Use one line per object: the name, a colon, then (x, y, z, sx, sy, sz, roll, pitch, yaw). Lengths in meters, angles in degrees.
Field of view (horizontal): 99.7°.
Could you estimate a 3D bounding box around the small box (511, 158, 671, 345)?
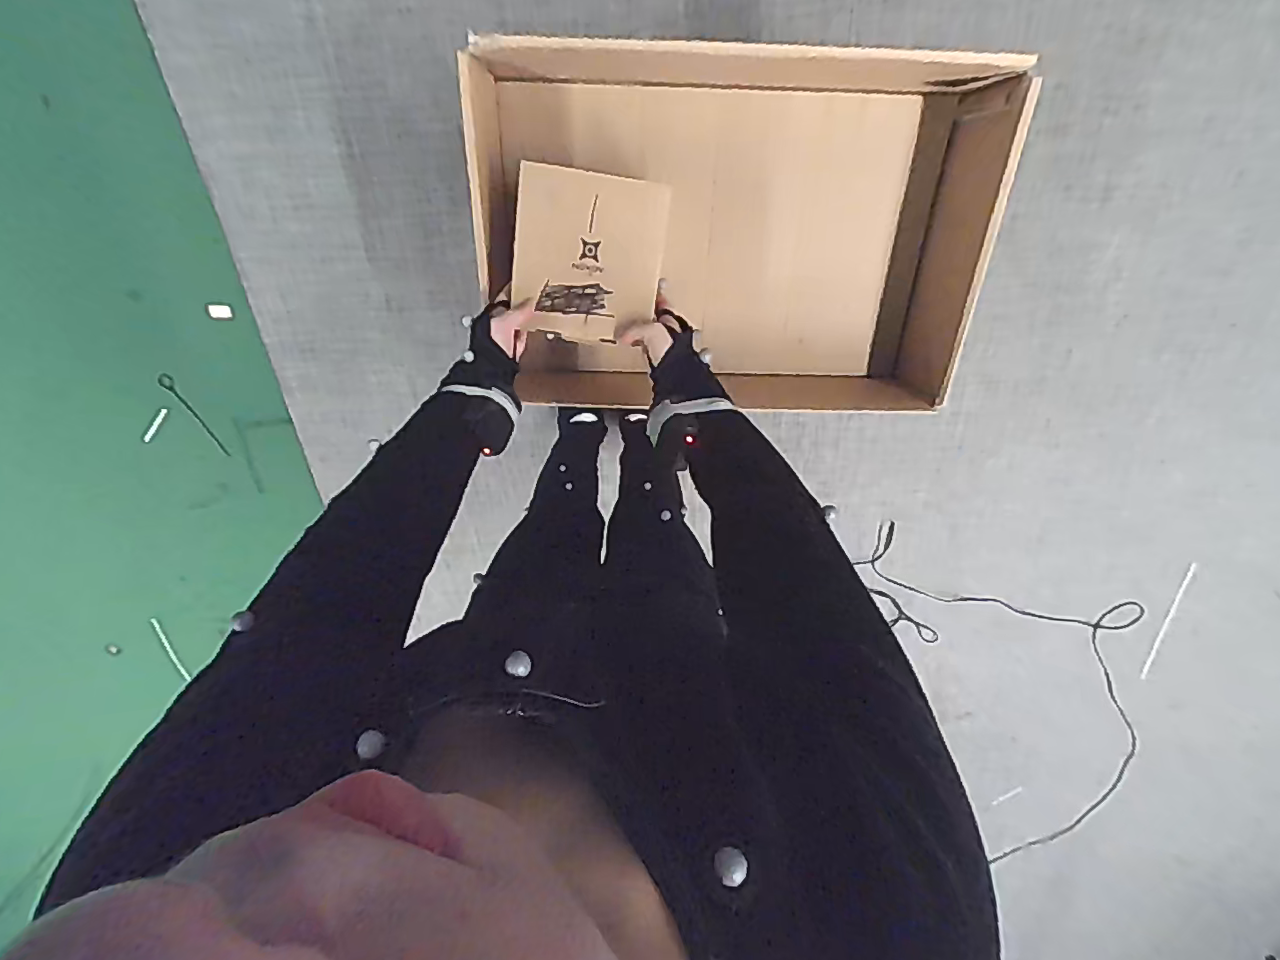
small box: (-0.060, -0.275, 0.681, 0.168, 0.176, 0.179, 7, 107, -5)
